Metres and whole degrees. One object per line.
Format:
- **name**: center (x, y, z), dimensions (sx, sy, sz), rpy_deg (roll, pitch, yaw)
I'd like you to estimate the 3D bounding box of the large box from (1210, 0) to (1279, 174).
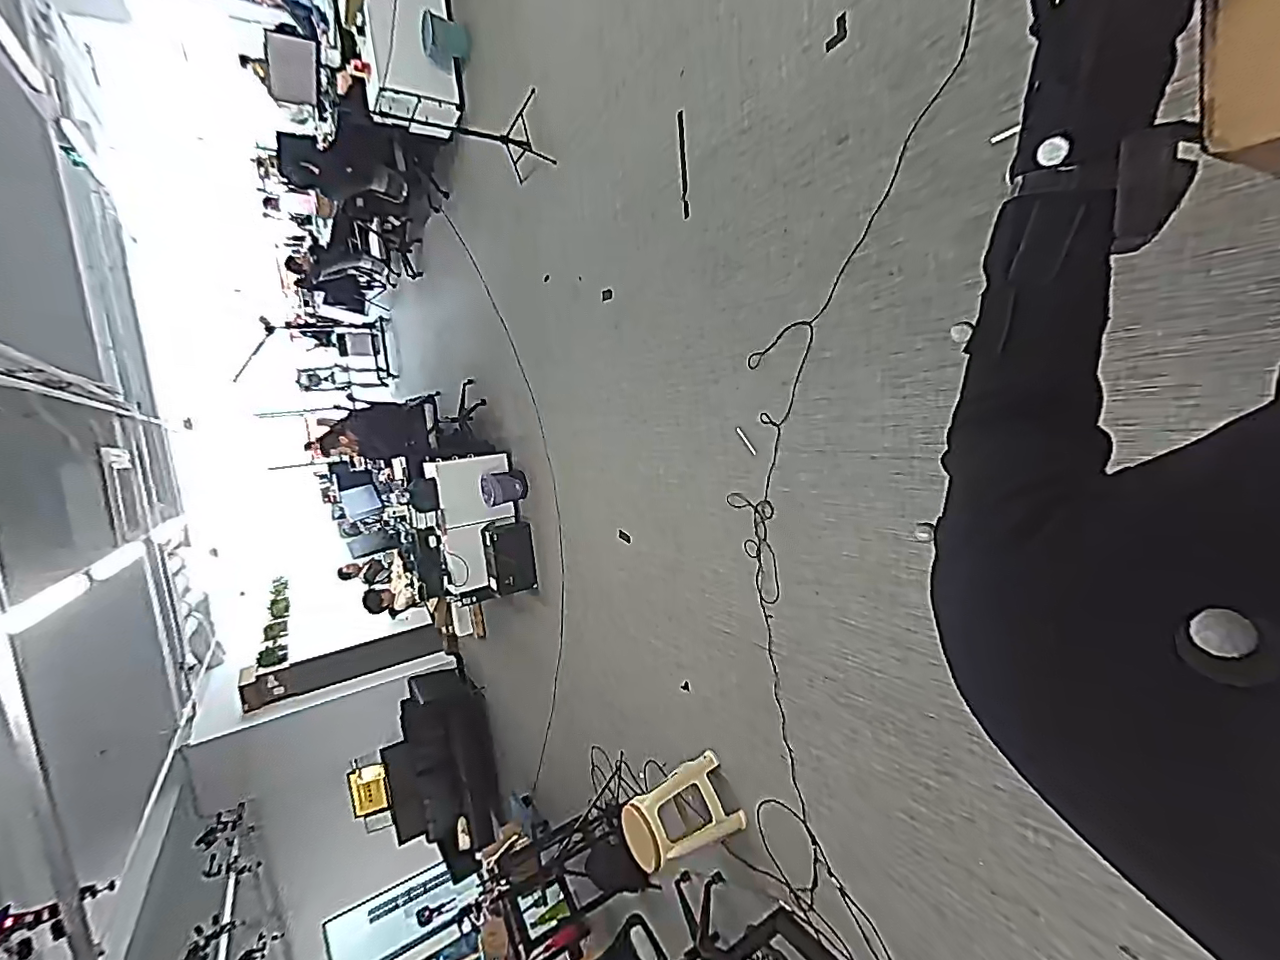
- **large box**: center (0.537, -0.370, 0.213), dimensions (0.408, 0.320, 0.320), rpy_deg (4, 110, 54)
